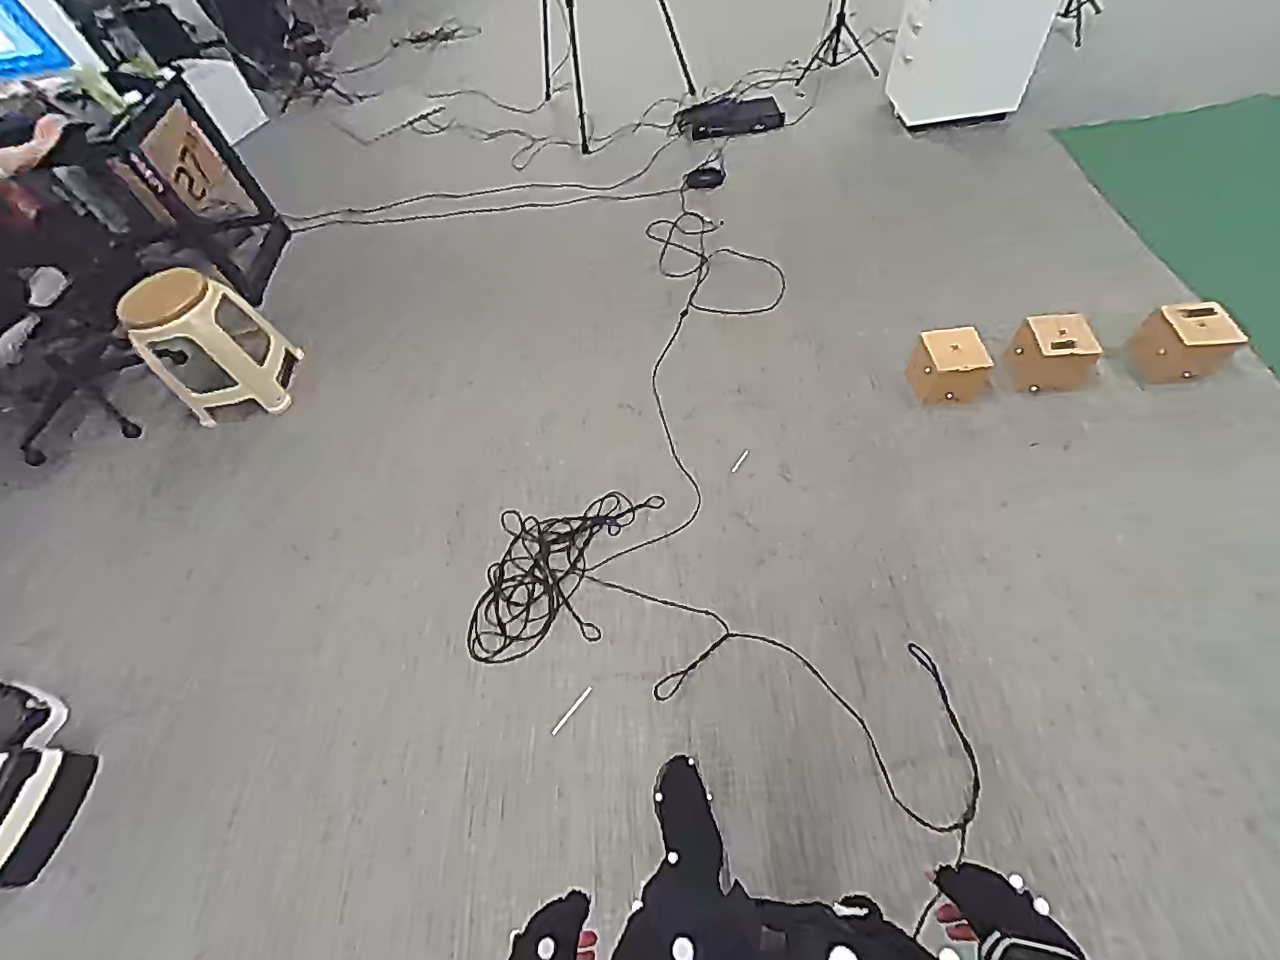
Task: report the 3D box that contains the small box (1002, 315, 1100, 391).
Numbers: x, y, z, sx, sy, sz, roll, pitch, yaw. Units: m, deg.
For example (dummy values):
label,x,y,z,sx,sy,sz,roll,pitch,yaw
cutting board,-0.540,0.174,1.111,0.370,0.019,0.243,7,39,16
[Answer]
label,x,y,z,sx,sy,sz,roll,pitch,yaw
small box,1.290,-0.397,1.711,0.168,0.176,0.179,0,56,7

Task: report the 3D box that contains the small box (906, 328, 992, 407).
label,x,y,z,sx,sy,sz,roll,pitch,yaw
small box,0.979,-0.359,1.732,0.168,0.176,0.179,-6,57,4
